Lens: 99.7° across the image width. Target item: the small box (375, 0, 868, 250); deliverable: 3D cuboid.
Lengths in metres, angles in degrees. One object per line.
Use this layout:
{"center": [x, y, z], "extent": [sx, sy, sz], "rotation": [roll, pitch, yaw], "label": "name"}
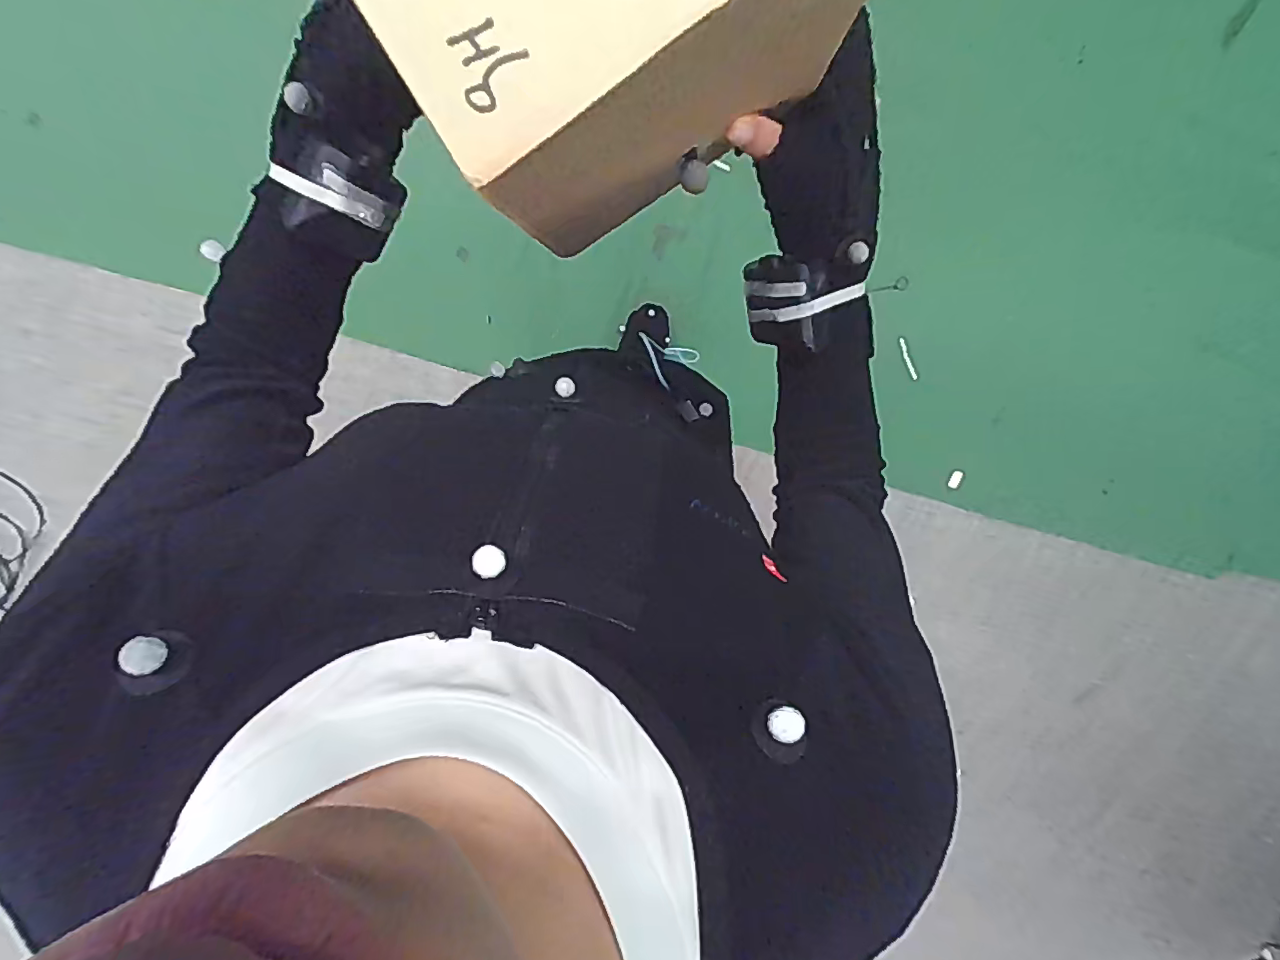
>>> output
{"center": [-0.016, -0.227, 0.228], "extent": [0.179, 0.176, 0.168], "rotation": [-30, 100, 10], "label": "small box"}
